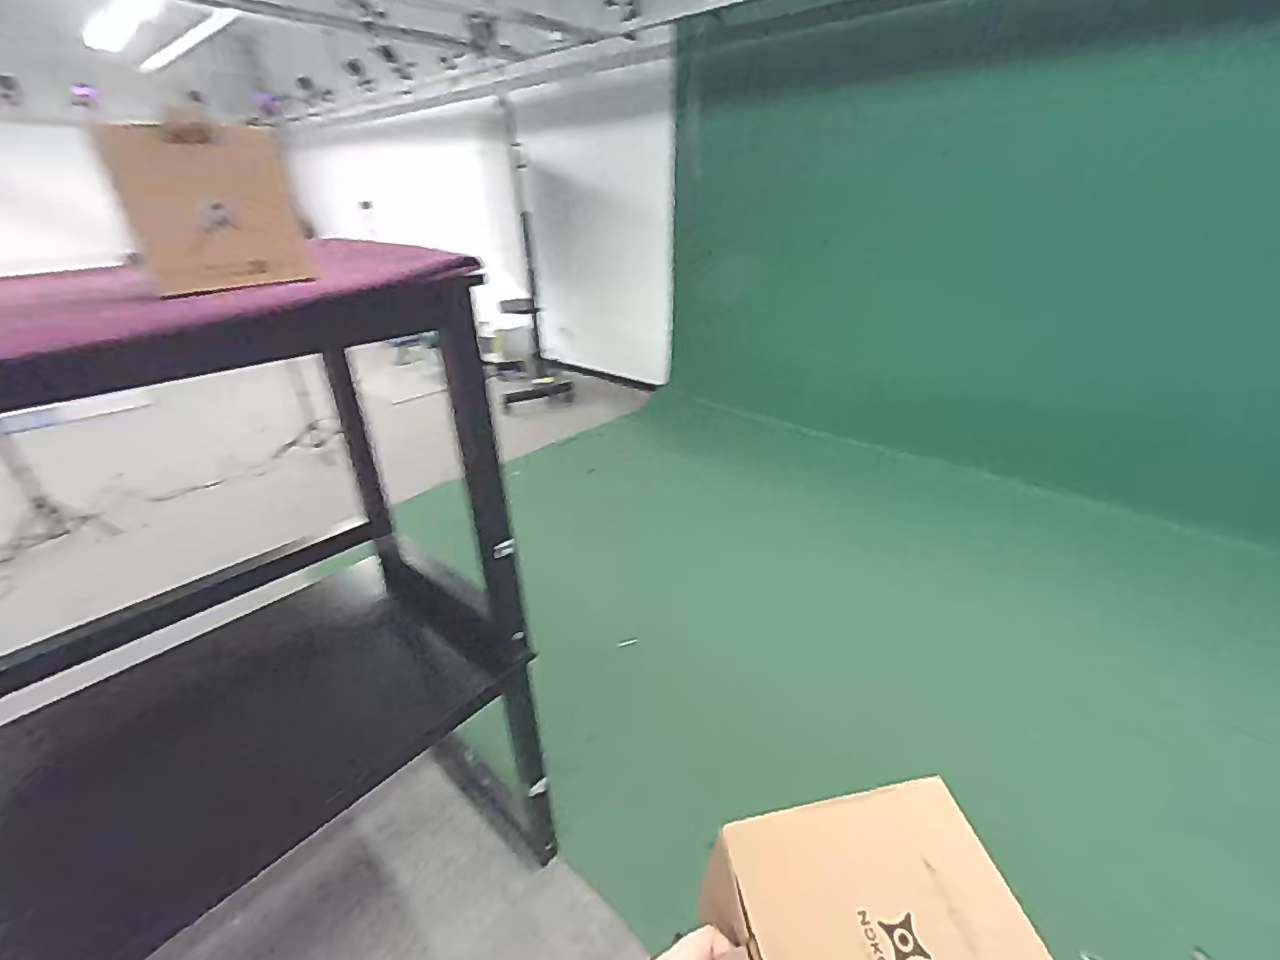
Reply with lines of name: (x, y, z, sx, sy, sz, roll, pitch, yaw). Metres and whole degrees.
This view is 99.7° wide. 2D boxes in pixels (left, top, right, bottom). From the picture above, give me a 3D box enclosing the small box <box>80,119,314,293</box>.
small box: (-0.528, -0.329, 0.660, 0.168, 0.176, 0.179, -25, 34, -34)
